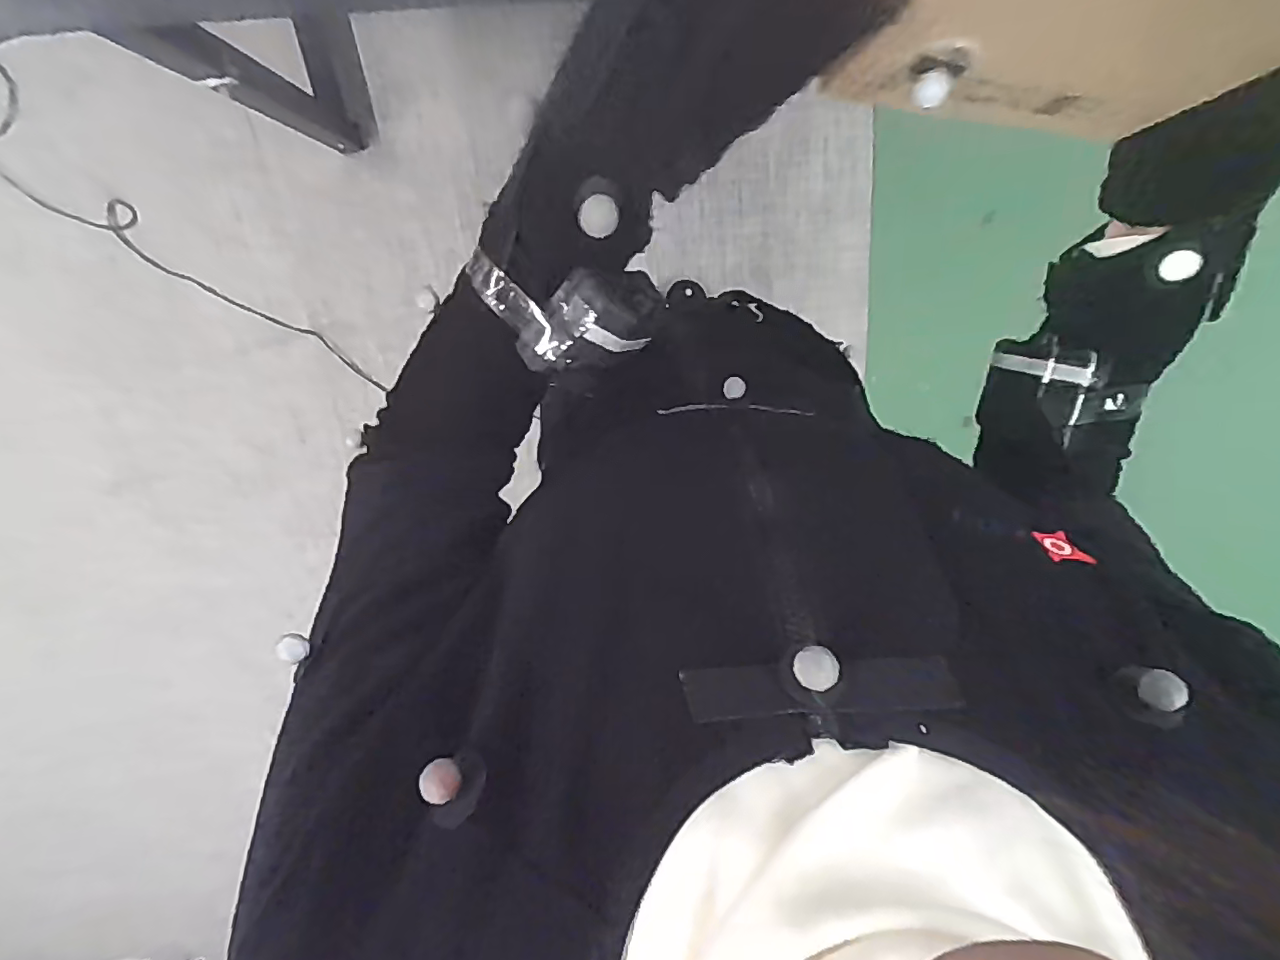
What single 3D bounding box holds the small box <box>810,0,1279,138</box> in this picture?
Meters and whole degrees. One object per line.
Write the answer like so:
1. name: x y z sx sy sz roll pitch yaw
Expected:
1. small box: 0.169 -0.242 0.169 0.168 0.176 0.179 -1 97 -14
